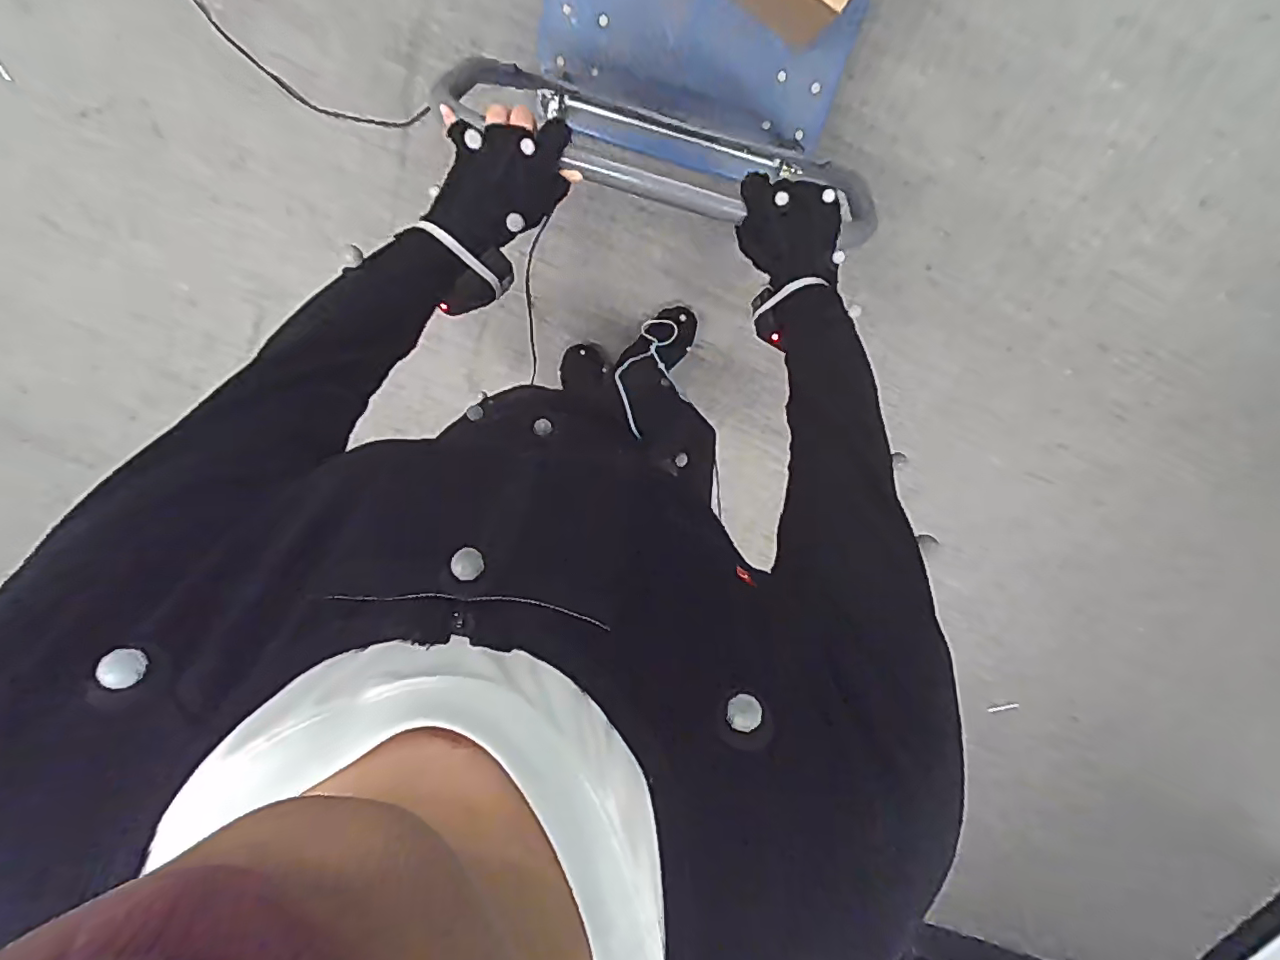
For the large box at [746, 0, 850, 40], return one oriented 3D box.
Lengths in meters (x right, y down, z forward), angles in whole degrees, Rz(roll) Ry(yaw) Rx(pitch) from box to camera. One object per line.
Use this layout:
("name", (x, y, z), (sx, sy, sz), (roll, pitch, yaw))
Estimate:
("large box", (0.196, -0.931, 0.772), (0.408, 0.320, 0.320), (28, 119, -11))
